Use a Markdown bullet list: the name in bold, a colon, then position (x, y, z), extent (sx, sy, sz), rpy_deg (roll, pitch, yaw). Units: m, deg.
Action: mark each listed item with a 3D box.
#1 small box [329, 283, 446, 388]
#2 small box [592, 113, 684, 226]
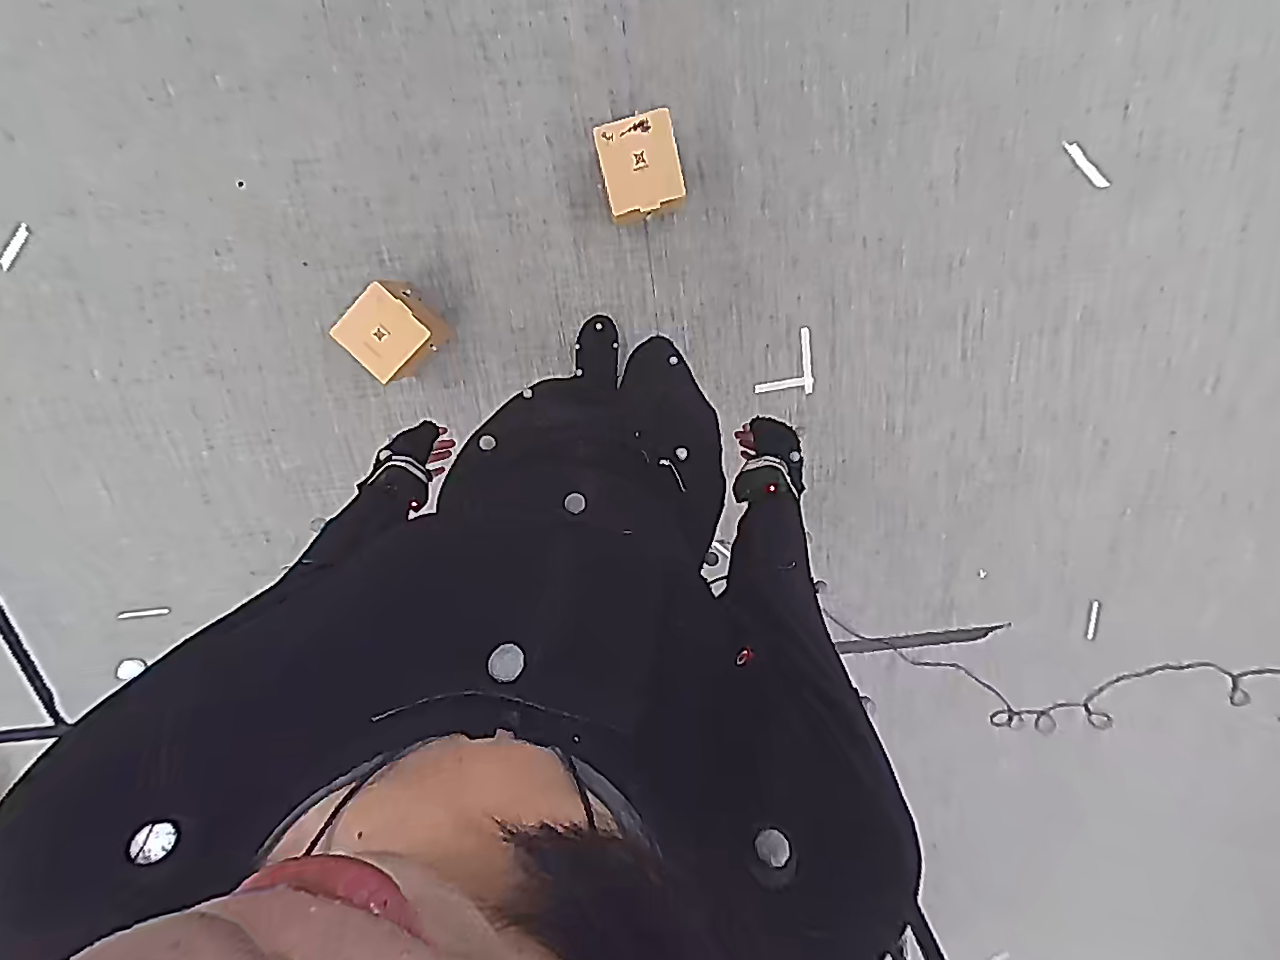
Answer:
- **small box**: position (-0.596, -0.351, 1.310), extent (0.179, 0.176, 0.168), rpy_deg (-42, 103, 12)
- **small box**: position (-0.003, -0.686, 1.219), extent (0.168, 0.176, 0.179), rpy_deg (-14, 109, 2)
